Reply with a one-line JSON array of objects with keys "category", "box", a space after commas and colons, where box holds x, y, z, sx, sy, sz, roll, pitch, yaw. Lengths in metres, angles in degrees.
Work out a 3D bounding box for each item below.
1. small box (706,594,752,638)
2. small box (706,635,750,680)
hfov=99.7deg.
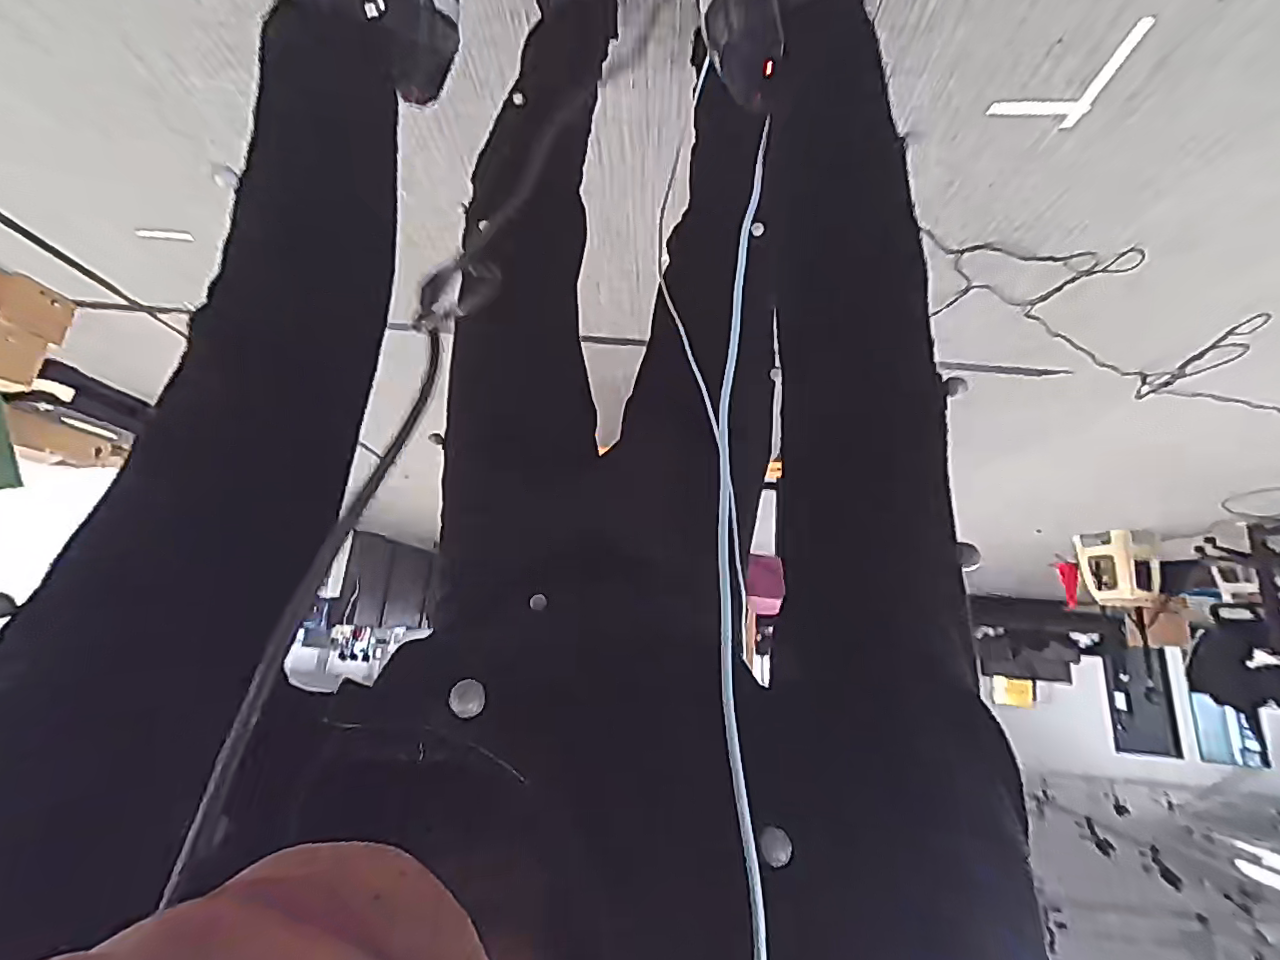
[{"category": "small box", "box": [0.382, 0.587, 2.328, 0.168, 0.176, 0.179, 6, 164, -1]}, {"category": "small box", "box": [0.373, 0.748, 2.294, 0.168, 0.176, 0.179, 4, 165, 3]}]
